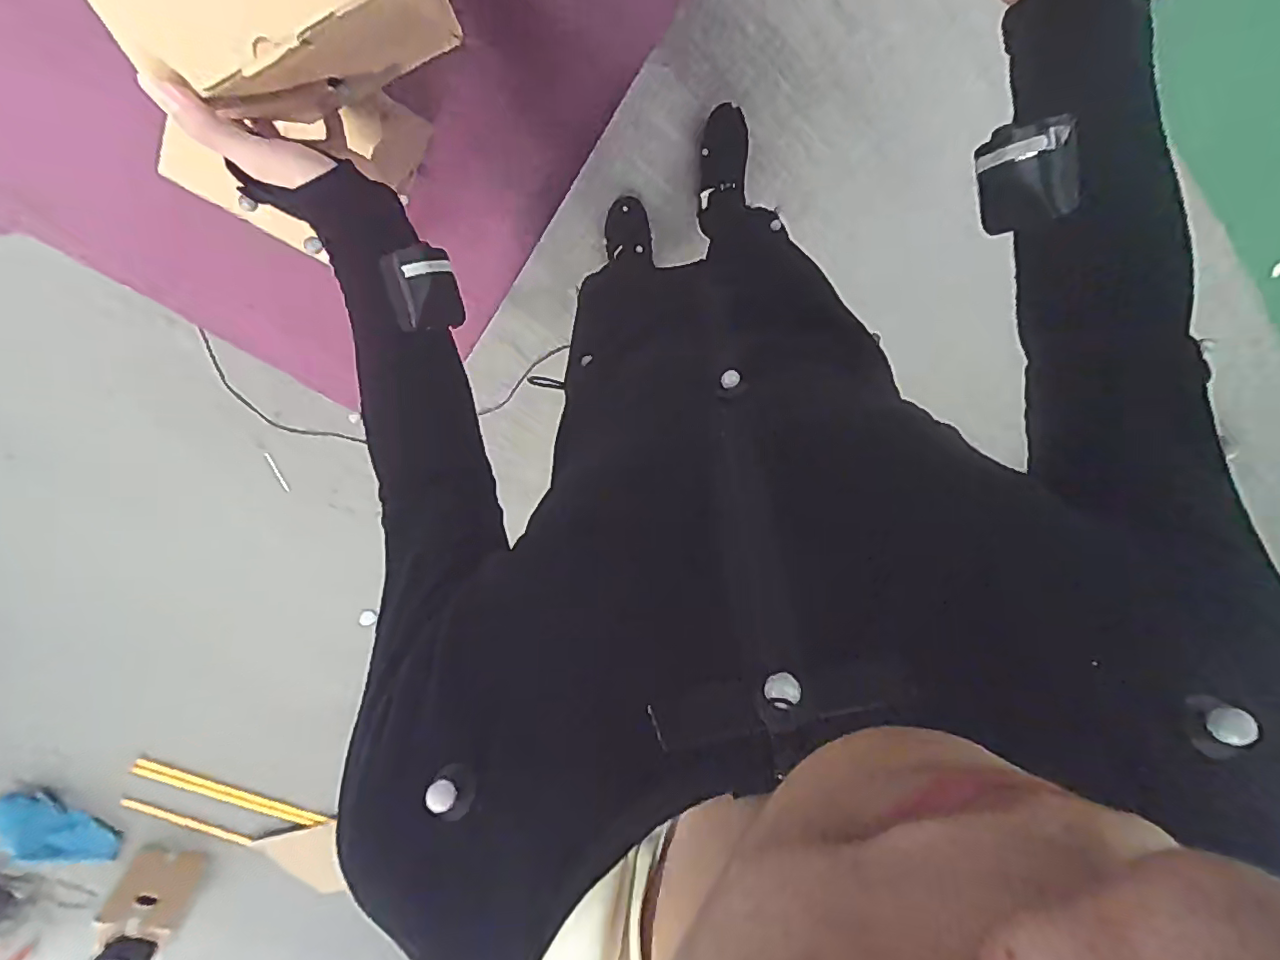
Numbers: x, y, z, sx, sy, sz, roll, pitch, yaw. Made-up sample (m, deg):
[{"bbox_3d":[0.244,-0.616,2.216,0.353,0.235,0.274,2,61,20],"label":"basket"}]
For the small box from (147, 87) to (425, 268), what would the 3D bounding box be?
[{"bbox_3d":[-0.366,-0.360,0.587,0.179,0.176,0.168,28,114,-19],"label":"small box"}]

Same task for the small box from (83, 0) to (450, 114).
[{"bbox_3d":[-0.257,-0.370,0.353,0.168,0.176,0.179,-18,120,11],"label":"small box"}]
